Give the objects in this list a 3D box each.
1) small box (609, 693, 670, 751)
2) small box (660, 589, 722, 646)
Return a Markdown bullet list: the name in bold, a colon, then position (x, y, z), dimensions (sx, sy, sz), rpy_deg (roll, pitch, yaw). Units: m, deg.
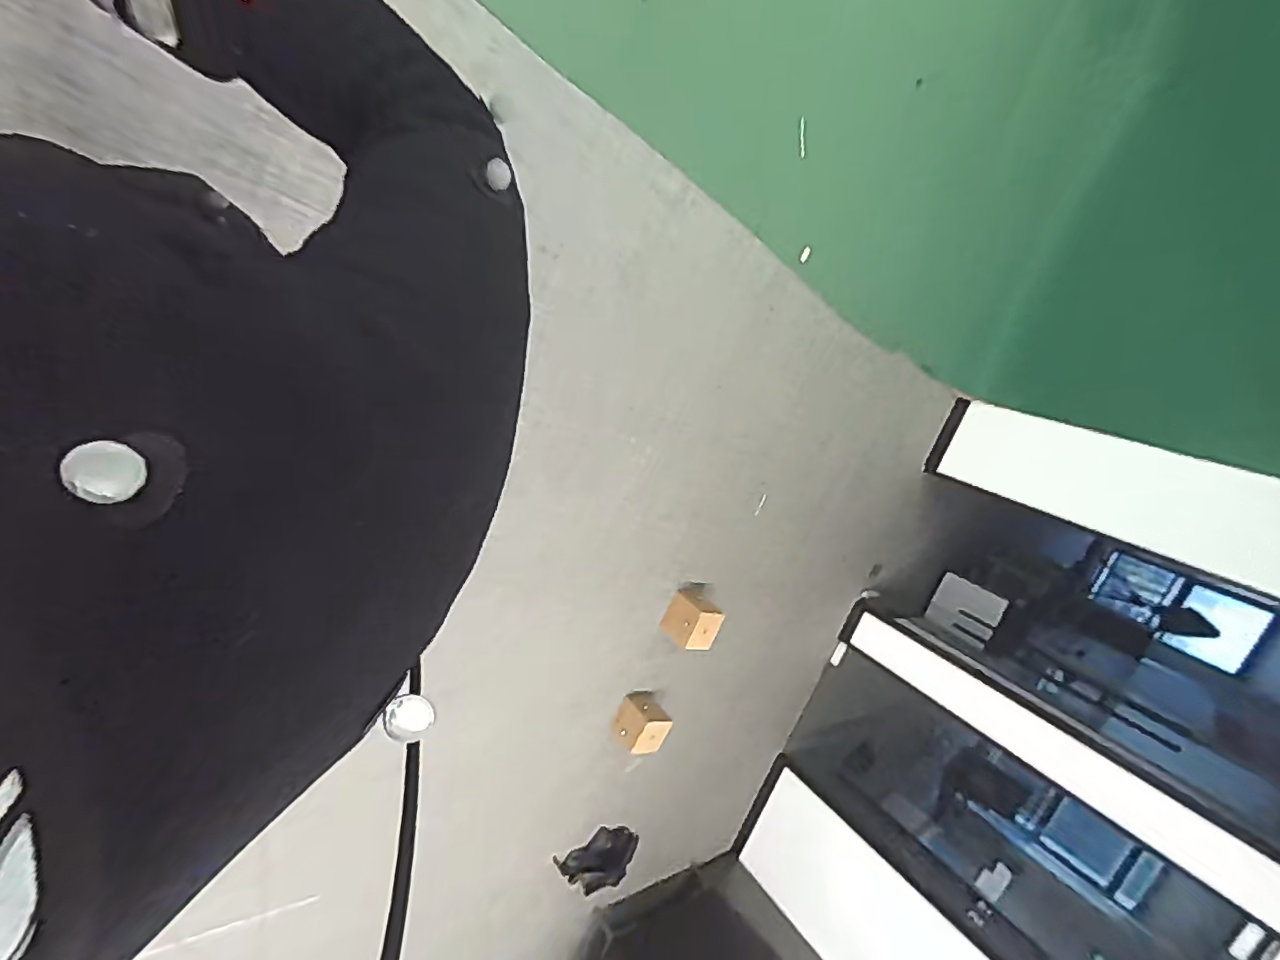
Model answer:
- **small box**: position (-0.008, 1.057, 2.376), dimensions (0.179, 0.176, 0.168), rpy_deg (22, 99, -45)
- **small box**: position (0.211, 0.587, 2.305), dimensions (0.168, 0.176, 0.179), rpy_deg (17, 101, -43)
